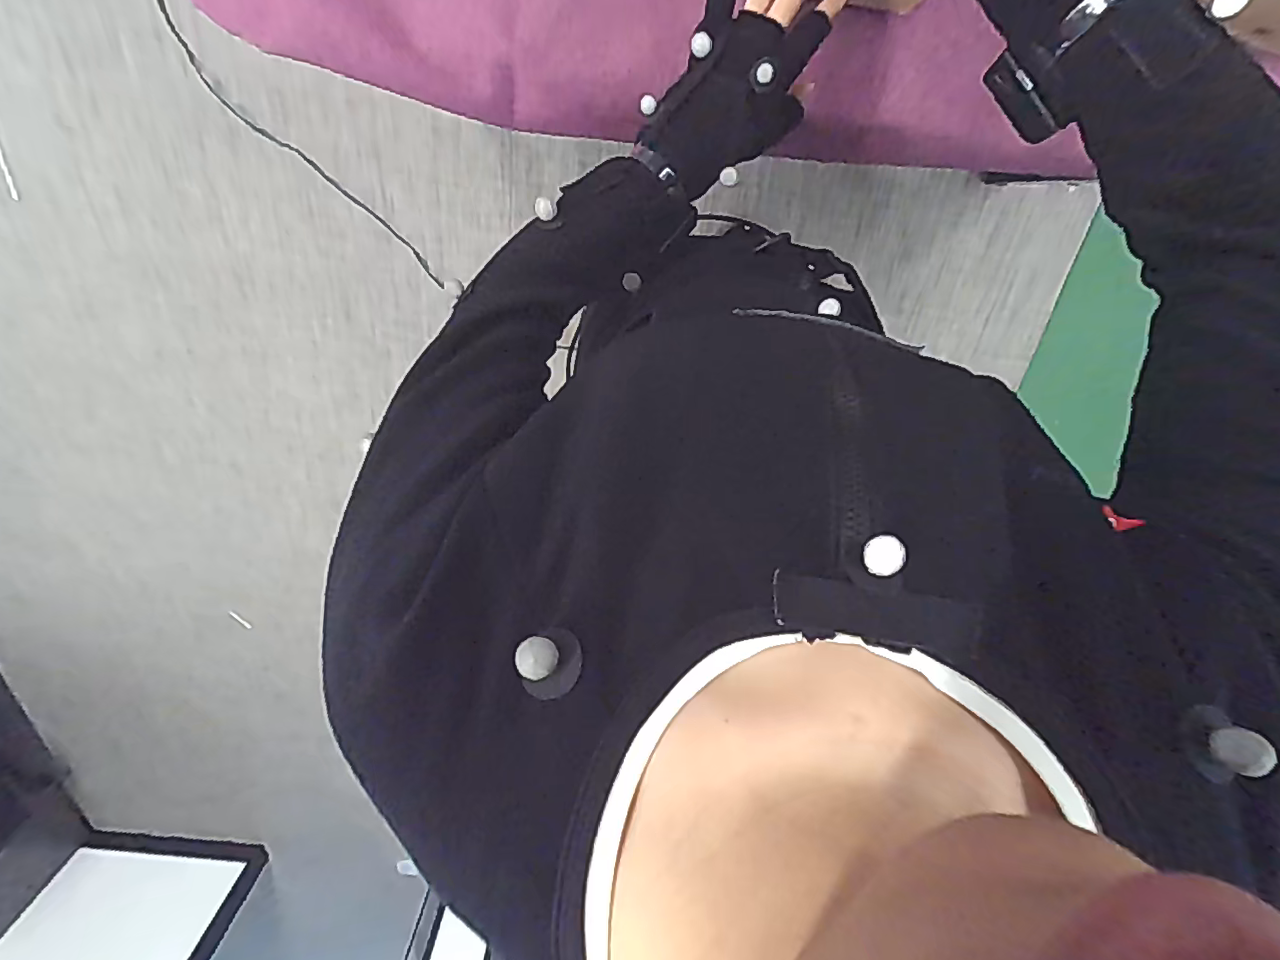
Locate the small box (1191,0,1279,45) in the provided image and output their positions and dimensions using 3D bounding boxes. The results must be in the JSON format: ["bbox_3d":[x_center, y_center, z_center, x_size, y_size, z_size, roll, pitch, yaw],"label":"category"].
[{"bbox_3d":[0.568,-0.461,0.397,0.168,0.176,0.179,16,117,-6],"label":"small box"}]
